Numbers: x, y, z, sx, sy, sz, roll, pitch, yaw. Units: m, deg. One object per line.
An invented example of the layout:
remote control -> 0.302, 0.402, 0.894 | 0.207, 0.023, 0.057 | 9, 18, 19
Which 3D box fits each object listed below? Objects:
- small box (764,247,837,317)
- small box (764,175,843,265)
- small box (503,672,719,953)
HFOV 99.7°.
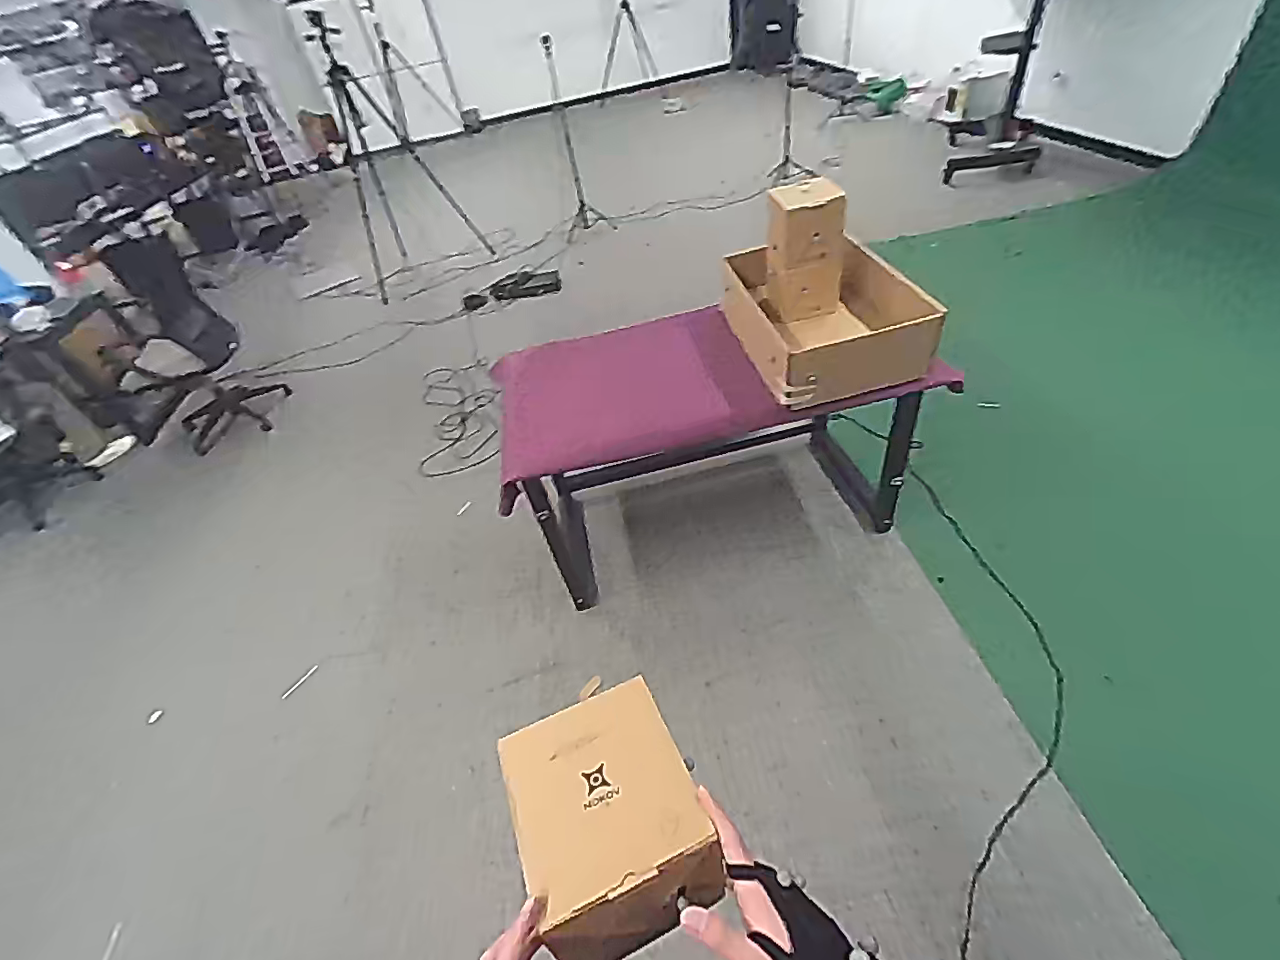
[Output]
small box -> 0.482, -0.609, 1.634 | 0.168, 0.176, 0.179 | -13, 45, 2
small box -> 0.455, -0.724, 1.519 | 0.168, 0.176, 0.179 | -12, 46, 2
small box -> -0.027, 0.343, 0.560 | 0.168, 0.176, 0.179 | -18, 38, -13
